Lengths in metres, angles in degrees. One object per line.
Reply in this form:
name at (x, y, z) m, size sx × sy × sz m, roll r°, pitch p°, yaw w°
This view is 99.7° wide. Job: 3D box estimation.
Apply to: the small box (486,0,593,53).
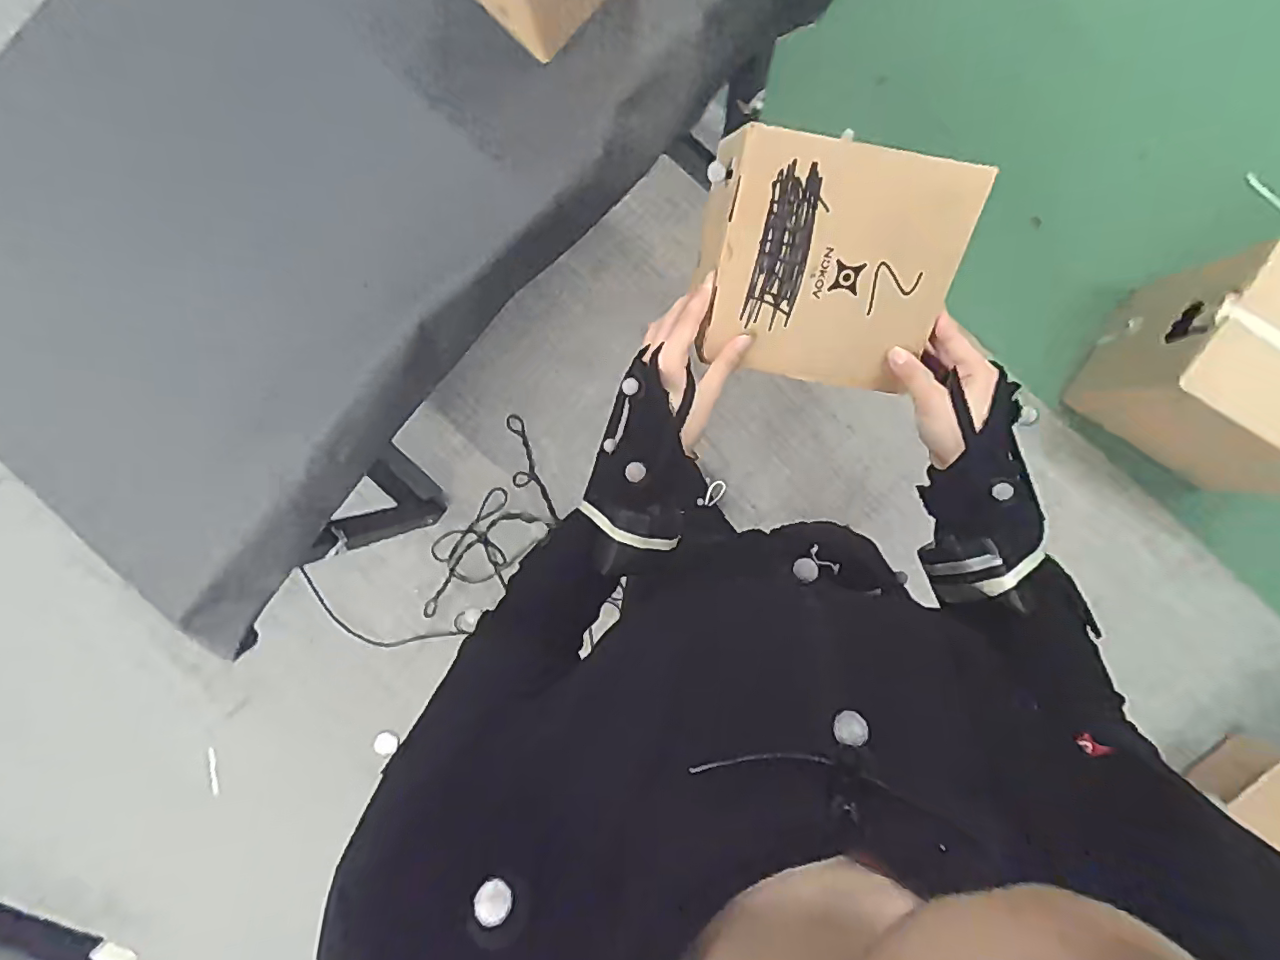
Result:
small box at (-0.115, -0.585, 0.527) m, size 0.168 × 0.176 × 0.179 m, roll 45°, pitch 95°, yaw 1°
